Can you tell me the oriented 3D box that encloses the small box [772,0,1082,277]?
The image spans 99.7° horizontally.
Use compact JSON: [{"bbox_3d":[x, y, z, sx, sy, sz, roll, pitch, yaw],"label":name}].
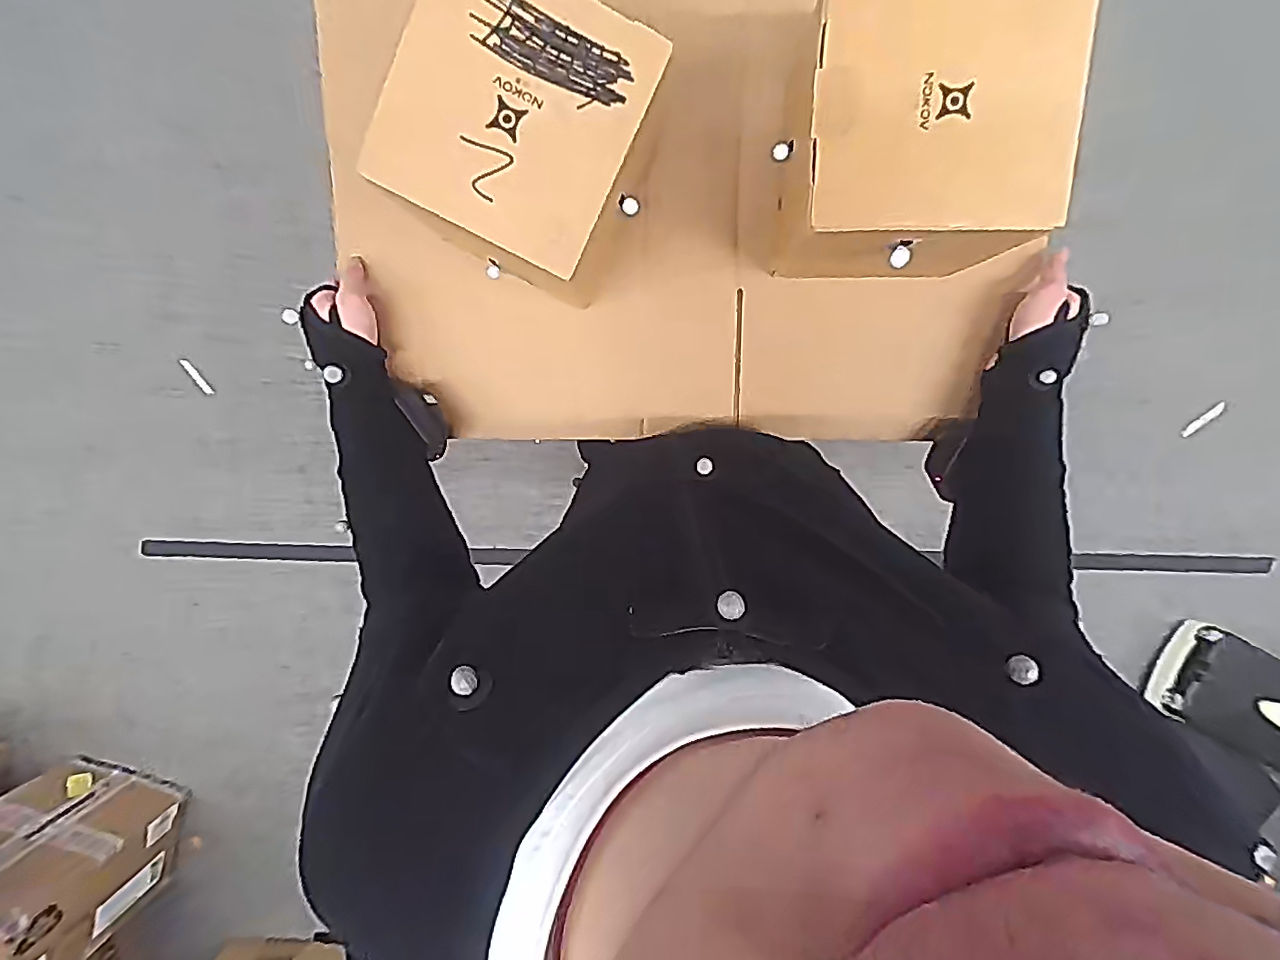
[{"bbox_3d":[0.218,-0.276,0.462,0.179,0.176,0.168,2,100,5],"label":"small box"}]
